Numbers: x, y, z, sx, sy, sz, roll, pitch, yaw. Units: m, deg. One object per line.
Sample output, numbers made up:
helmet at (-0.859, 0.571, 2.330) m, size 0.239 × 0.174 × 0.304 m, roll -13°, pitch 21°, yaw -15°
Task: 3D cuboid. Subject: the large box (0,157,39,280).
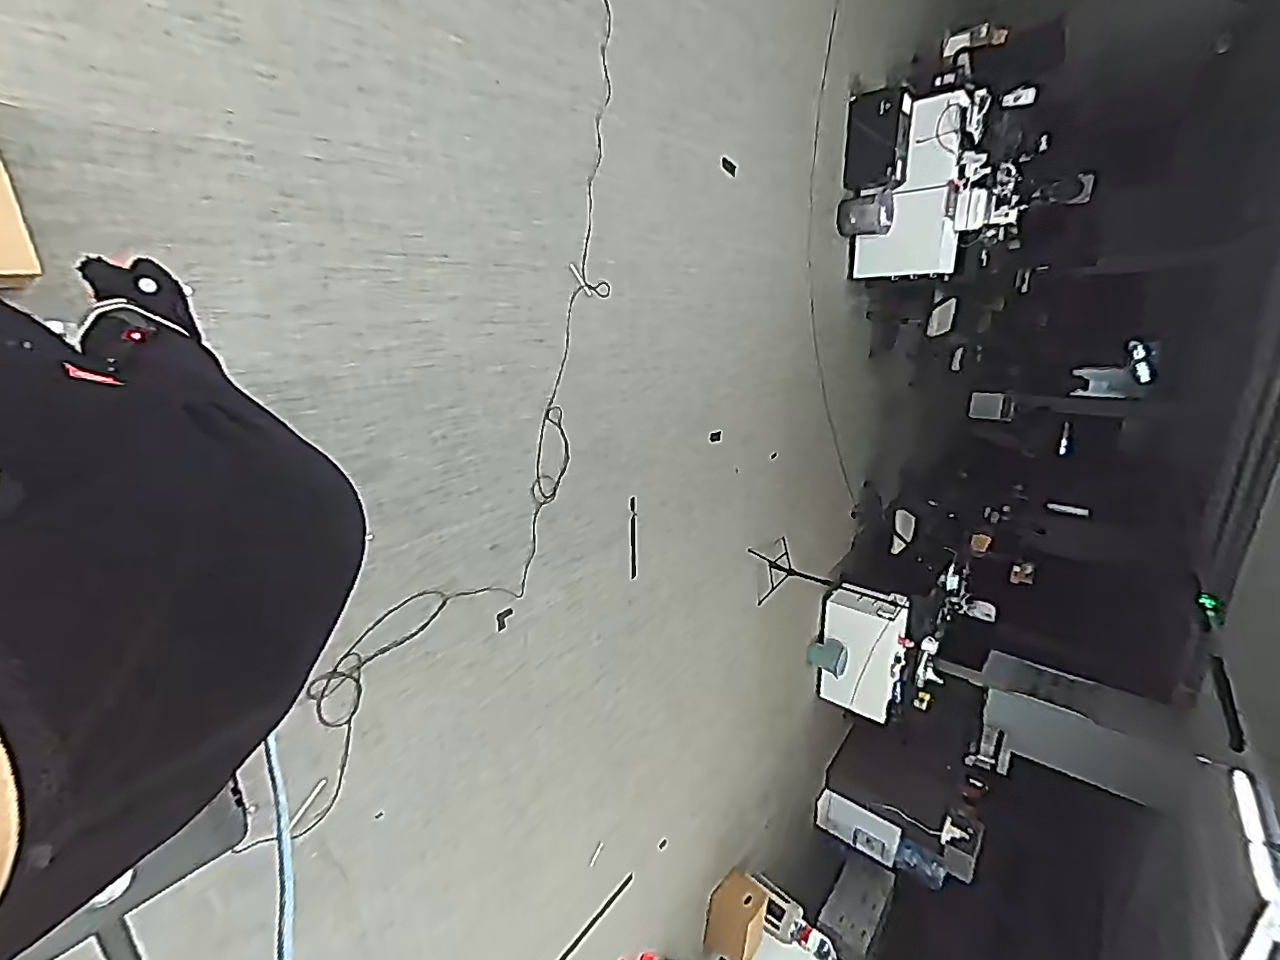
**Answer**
large box at (-1.136, -0.427, 0.699) m, size 0.408 × 0.320 × 0.320 m, roll -24°, pitch 118°, yaw -47°
